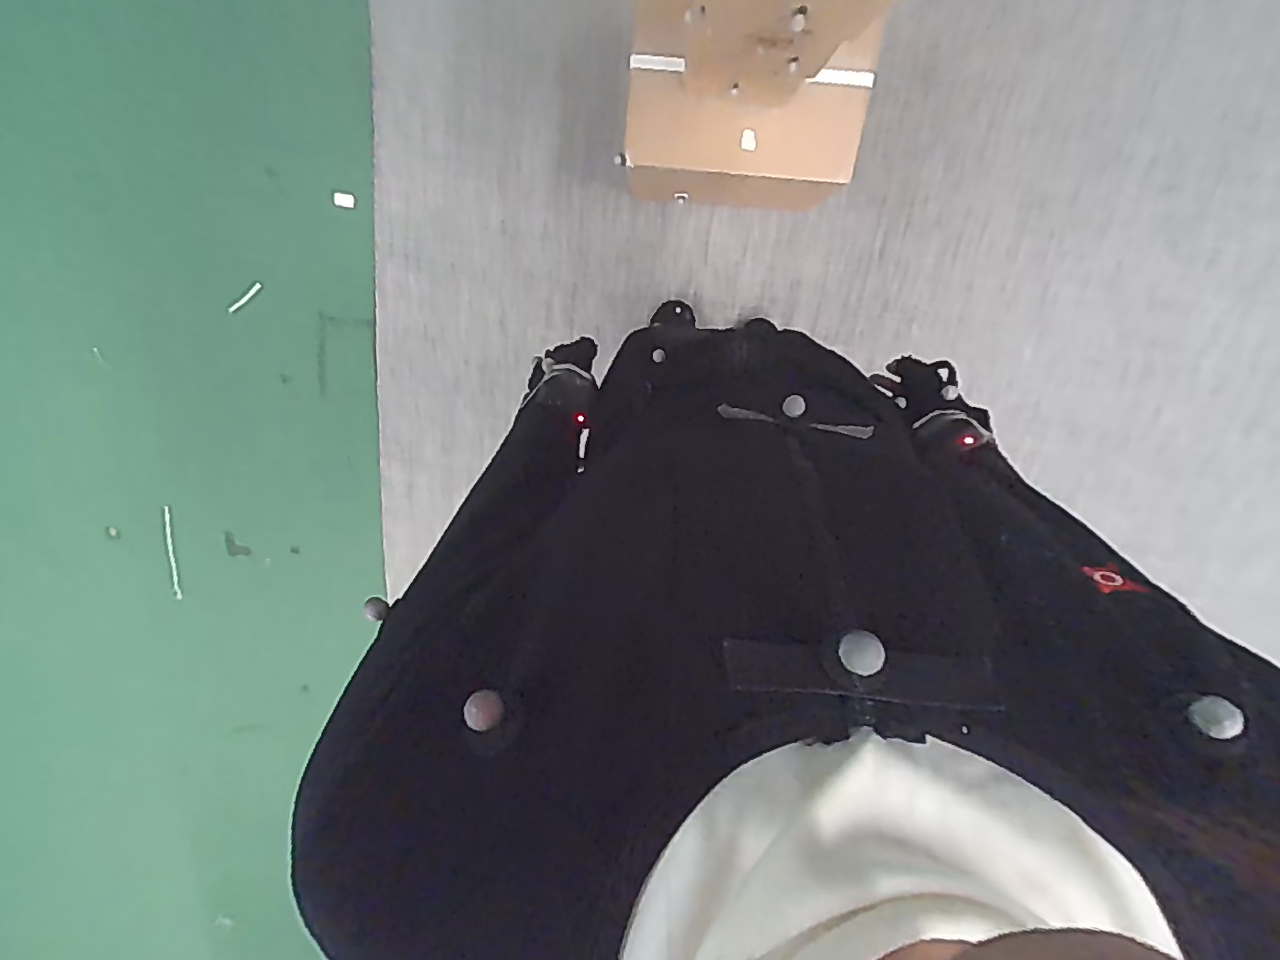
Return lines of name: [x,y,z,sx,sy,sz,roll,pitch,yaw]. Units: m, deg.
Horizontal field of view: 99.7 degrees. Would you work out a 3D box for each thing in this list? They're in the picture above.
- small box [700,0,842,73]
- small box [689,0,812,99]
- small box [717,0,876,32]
small box: [0.164,-0.627,0.664,0.168,0.176,0.179,4,114,2]
small box: [0.170,-0.692,0.813,0.179,0.176,0.168,6,115,2]
small box: [0.165,-0.560,0.515,0.168,0.176,0.179,5,115,3]
